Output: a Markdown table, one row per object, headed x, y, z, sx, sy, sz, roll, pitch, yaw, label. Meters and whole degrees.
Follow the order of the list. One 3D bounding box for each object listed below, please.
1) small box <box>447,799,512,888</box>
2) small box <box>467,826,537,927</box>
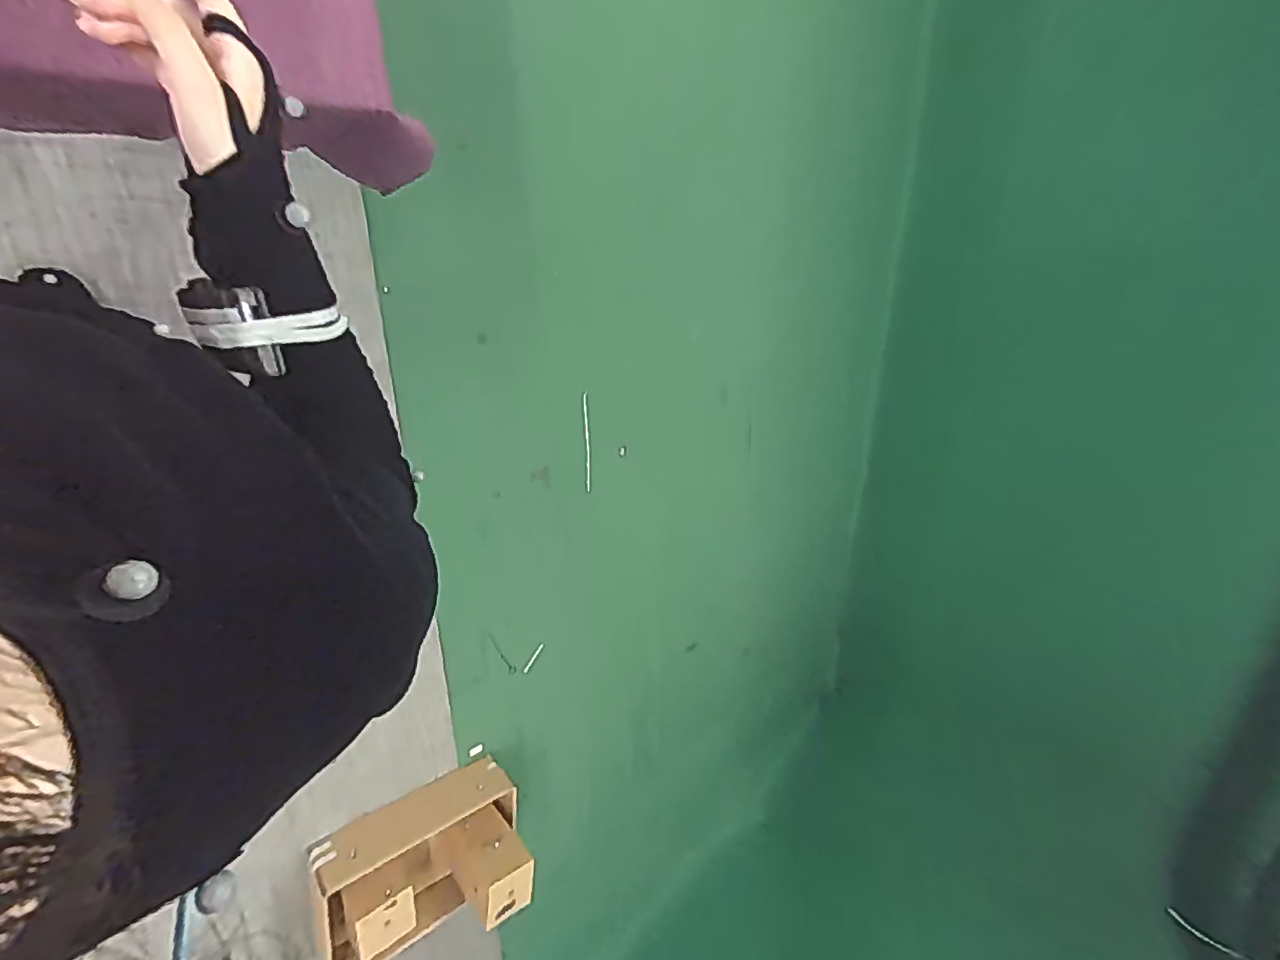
| x | y | z | sx | sy | sz | roll | pitch | yaw | label |
| --- | --- | --- | --- | --- | --- | --- | --- | --- | --- |
| -0.573 | 1.275 | 1.918 | 0.168 | 0.176 | 0.179 | -7 | 108 | -43 | small box |
| -0.463 | 1.311 | 1.803 | 0.168 | 0.176 | 0.179 | -5 | 106 | -44 | small box |
